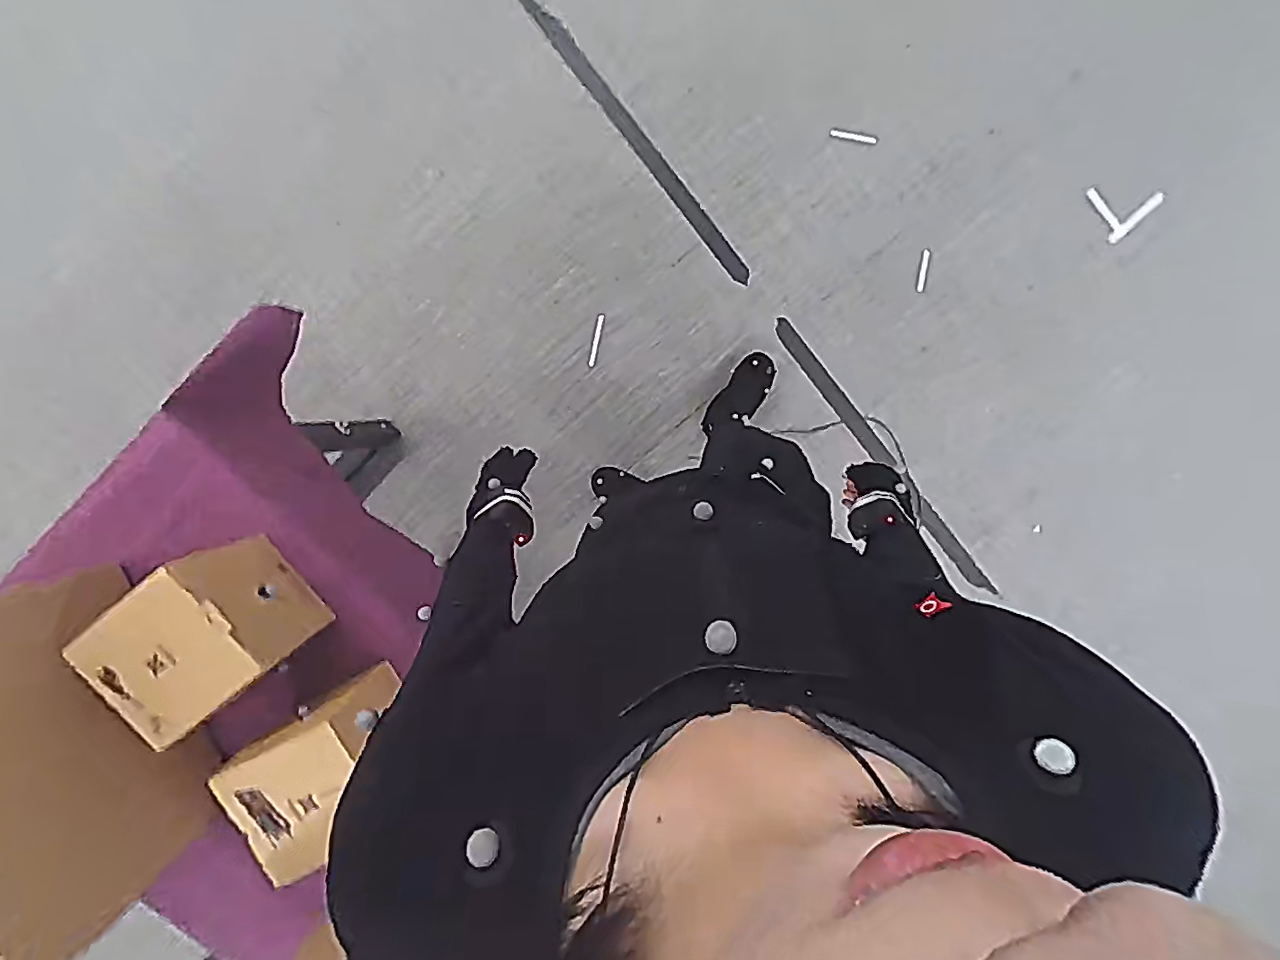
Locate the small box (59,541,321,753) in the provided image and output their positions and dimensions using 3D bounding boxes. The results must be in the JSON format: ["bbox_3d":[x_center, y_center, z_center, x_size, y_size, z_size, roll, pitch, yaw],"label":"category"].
[{"bbox_3d":[-0.563,0.204,0.713,0.179,0.176,0.168,-38,95,3],"label":"small box"}]
